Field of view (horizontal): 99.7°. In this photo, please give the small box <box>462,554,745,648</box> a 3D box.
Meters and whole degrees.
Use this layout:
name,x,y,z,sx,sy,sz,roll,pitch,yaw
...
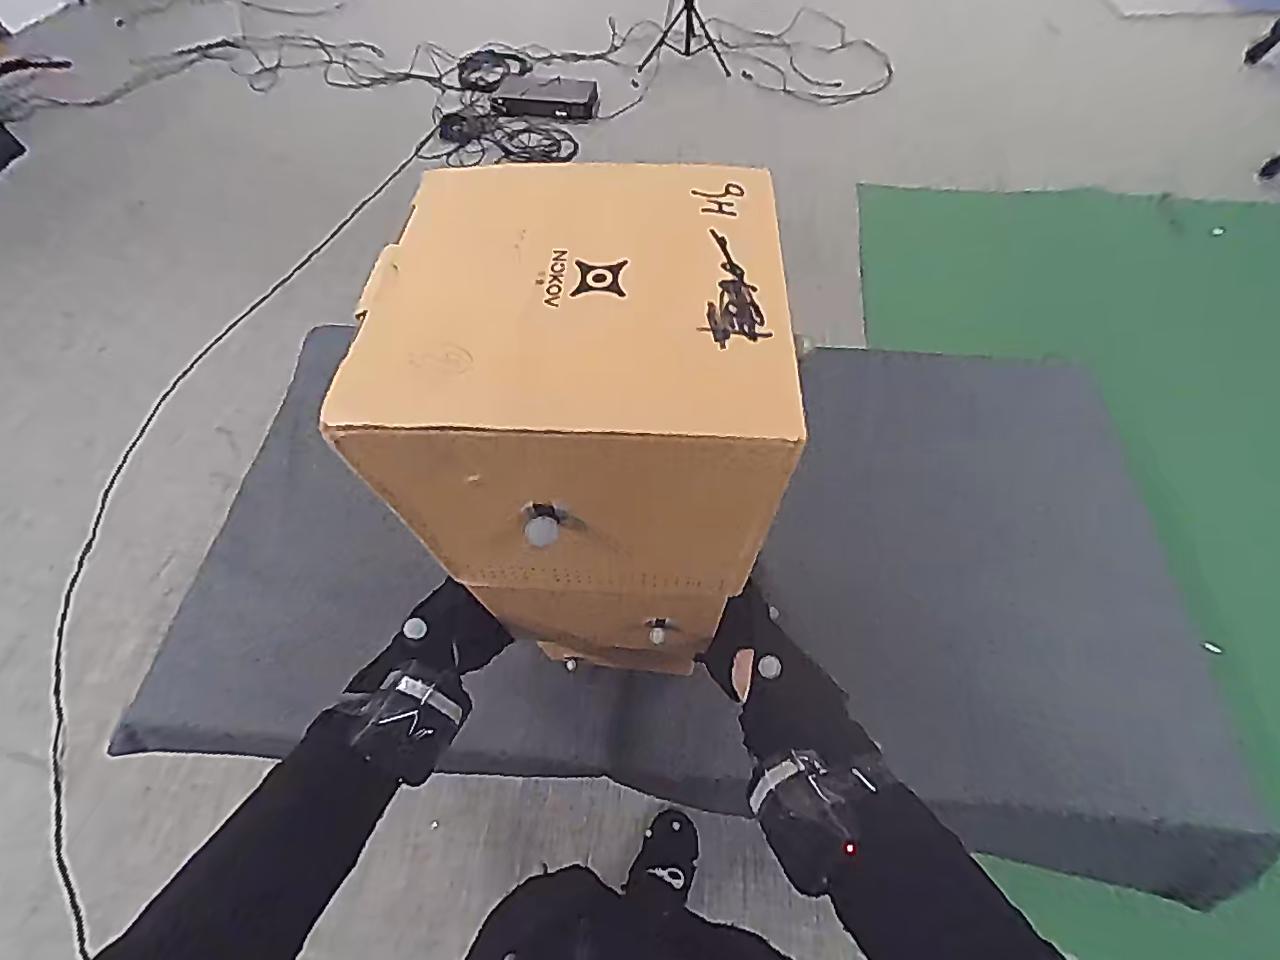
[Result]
name,x,y,z,sx,sy,sz,roll,pitch,yaw
small box,-0.021,0.033,0.437,0.179,0.176,0.168,0,60,1

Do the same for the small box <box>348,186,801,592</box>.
name,x,y,z,sx,sy,sz,roll,pitch,yaw
small box,-0.023,-0.041,0.312,0.179,0.176,0.168,-1,58,0

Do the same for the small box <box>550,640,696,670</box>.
name,x,y,z,sx,sy,sz,roll,pitch,yaw
small box,-0.016,0.103,0.601,0.168,0.176,0.179,5,60,4
